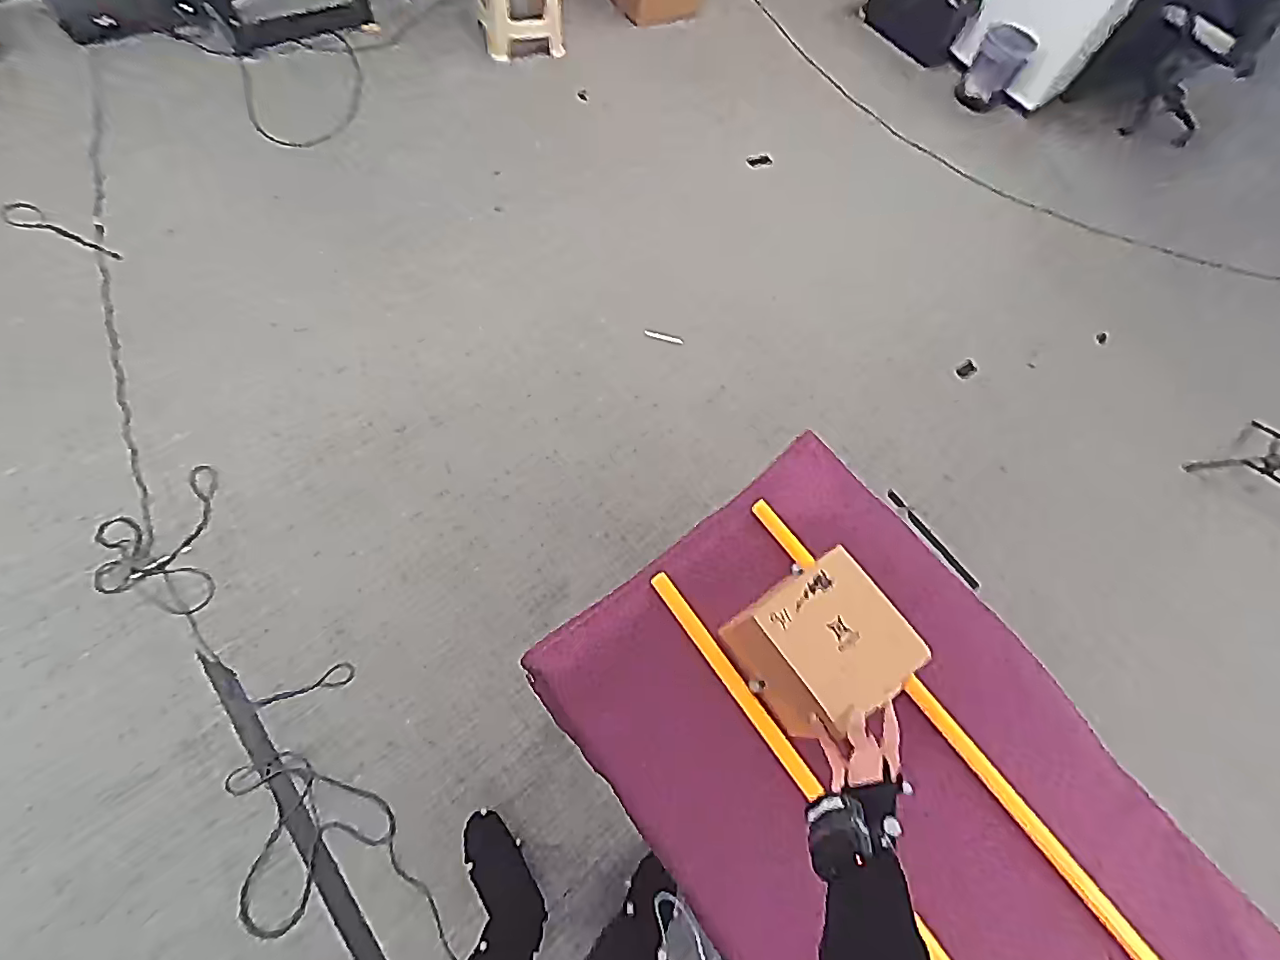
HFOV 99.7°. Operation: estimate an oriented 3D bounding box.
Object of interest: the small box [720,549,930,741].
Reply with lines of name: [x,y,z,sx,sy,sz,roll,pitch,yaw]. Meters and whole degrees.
small box: [0.238,0.224,0.740,0.168,0.176,0.179,-31,75,-20]
